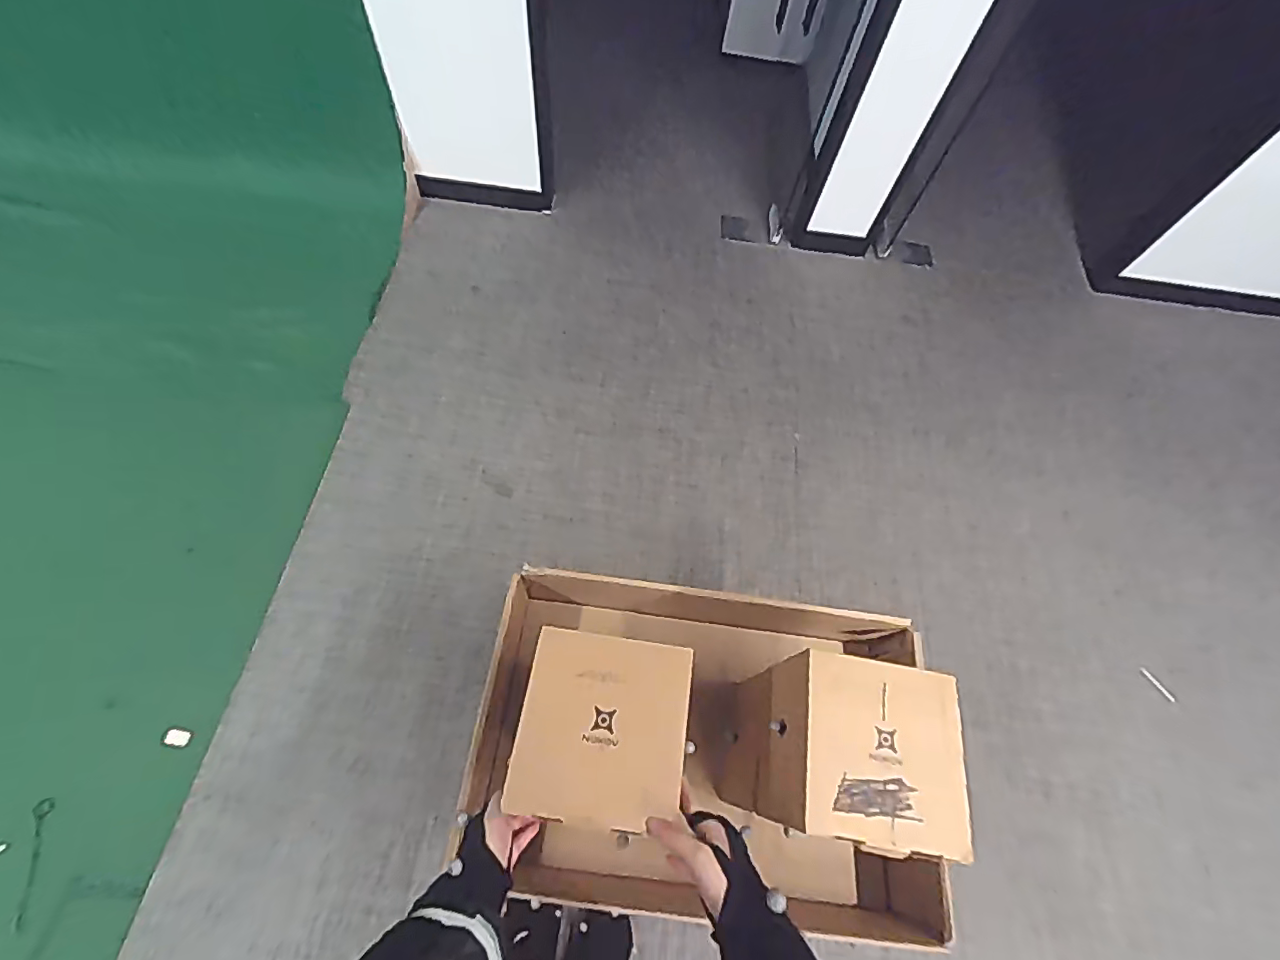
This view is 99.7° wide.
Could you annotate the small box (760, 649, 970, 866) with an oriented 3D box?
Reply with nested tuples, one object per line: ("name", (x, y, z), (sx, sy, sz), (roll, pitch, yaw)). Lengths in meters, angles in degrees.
("small box", (0.243, 0.313, 0.624), (0.168, 0.176, 0.179), (11, 62, 0))

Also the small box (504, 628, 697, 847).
("small box", (-0.035, 0.284, 0.604), (0.168, 0.176, 0.179), (9, 60, 2))
